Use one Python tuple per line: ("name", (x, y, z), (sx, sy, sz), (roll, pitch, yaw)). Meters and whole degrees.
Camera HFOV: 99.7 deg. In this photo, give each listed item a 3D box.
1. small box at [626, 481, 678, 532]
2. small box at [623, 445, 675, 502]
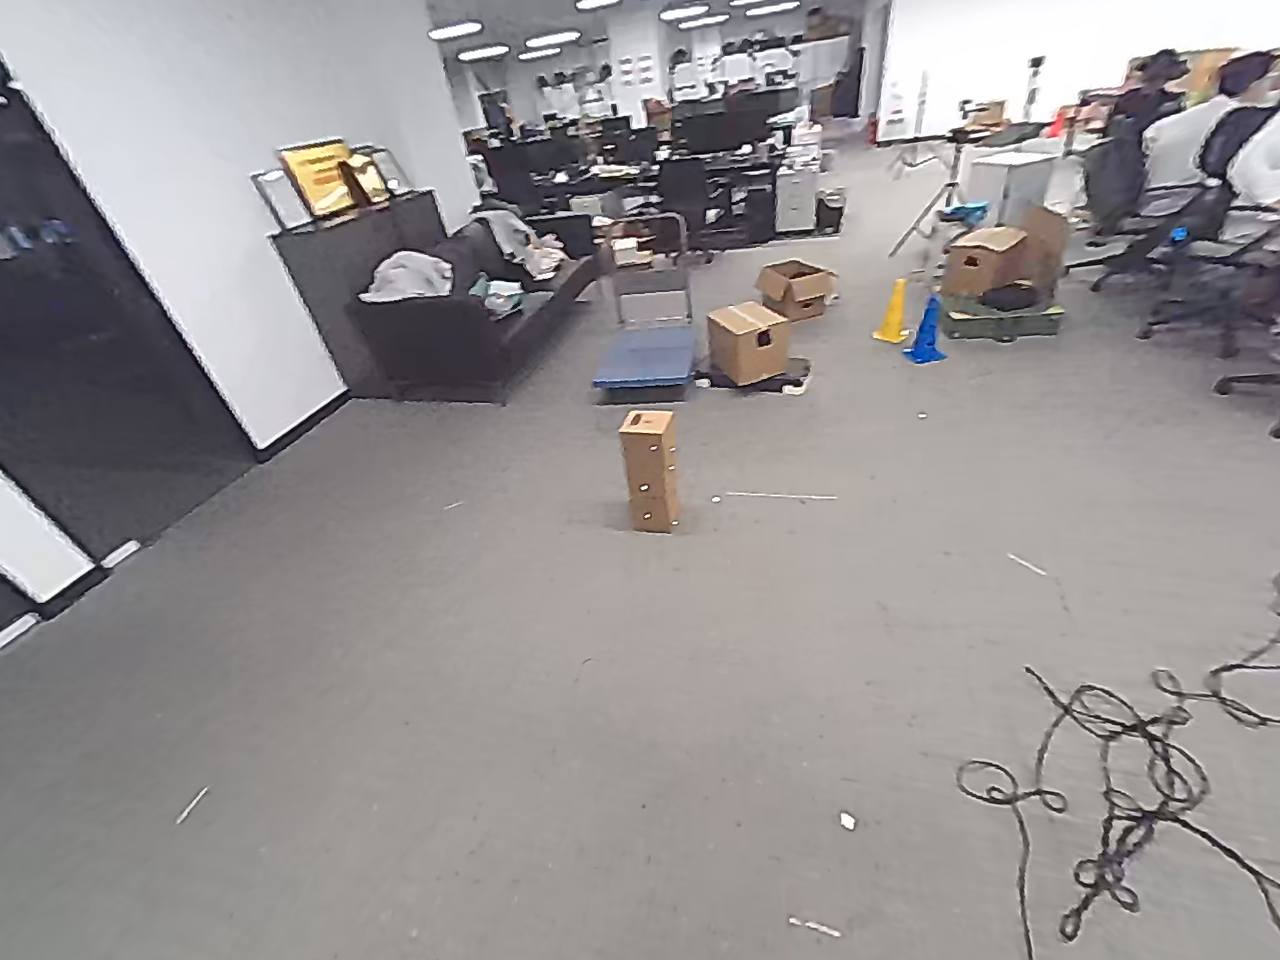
("small box", (0.058, 0.106, 2.318), (0.179, 0.176, 0.168), (3, 38, 18))
("small box", (0.042, -0.026, 2.221), (0.168, 0.176, 0.179), (4, 38, 17))
